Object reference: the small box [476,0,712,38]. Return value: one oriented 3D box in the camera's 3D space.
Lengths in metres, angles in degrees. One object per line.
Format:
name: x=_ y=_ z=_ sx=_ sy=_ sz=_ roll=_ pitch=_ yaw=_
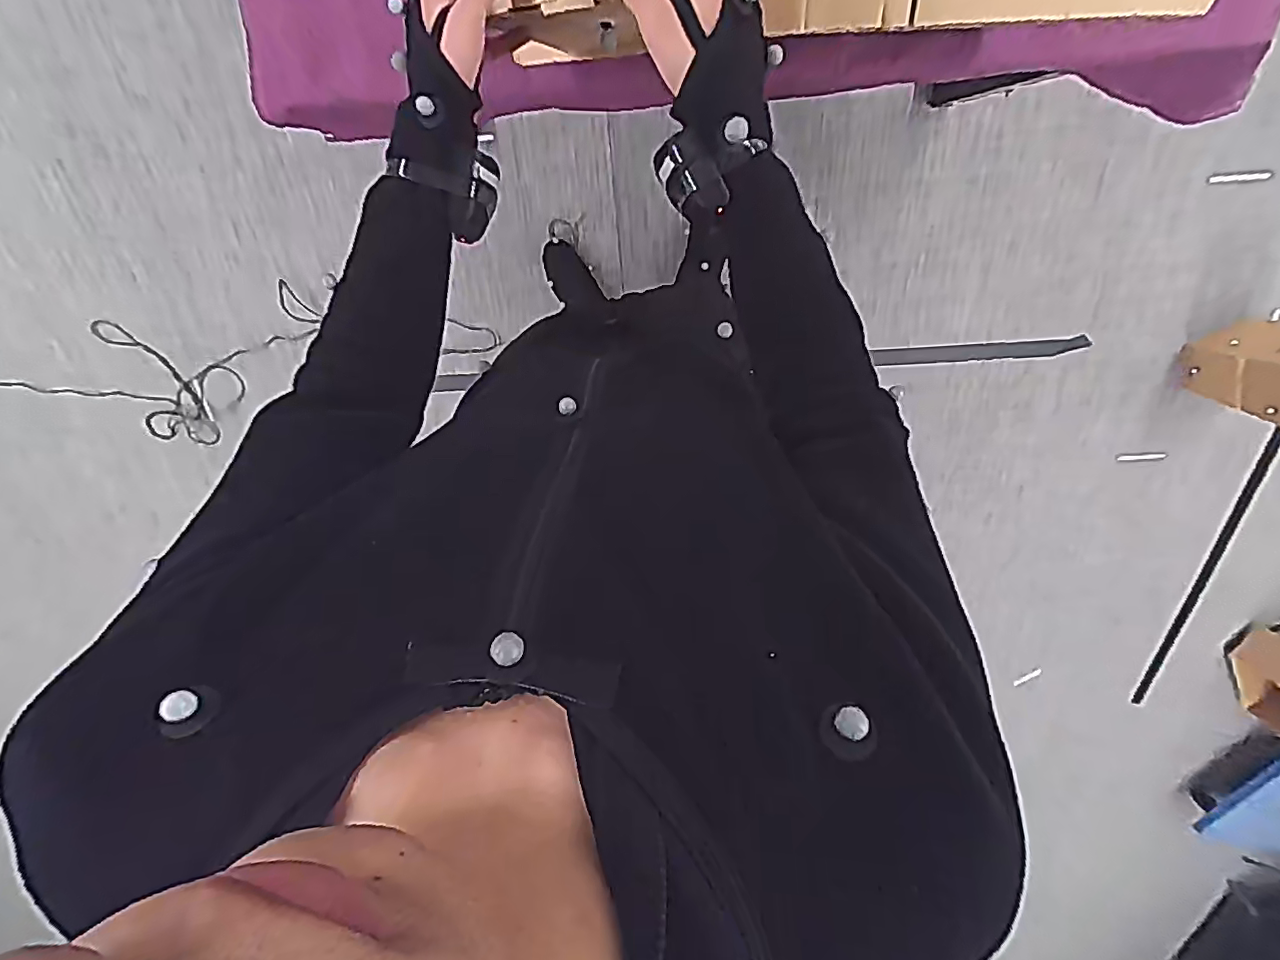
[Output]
small box: x=-0.036 y=-0.484 z=0.439 sx=0.168 sy=0.176 sz=0.179 roll=6 pitch=122 yaw=18
